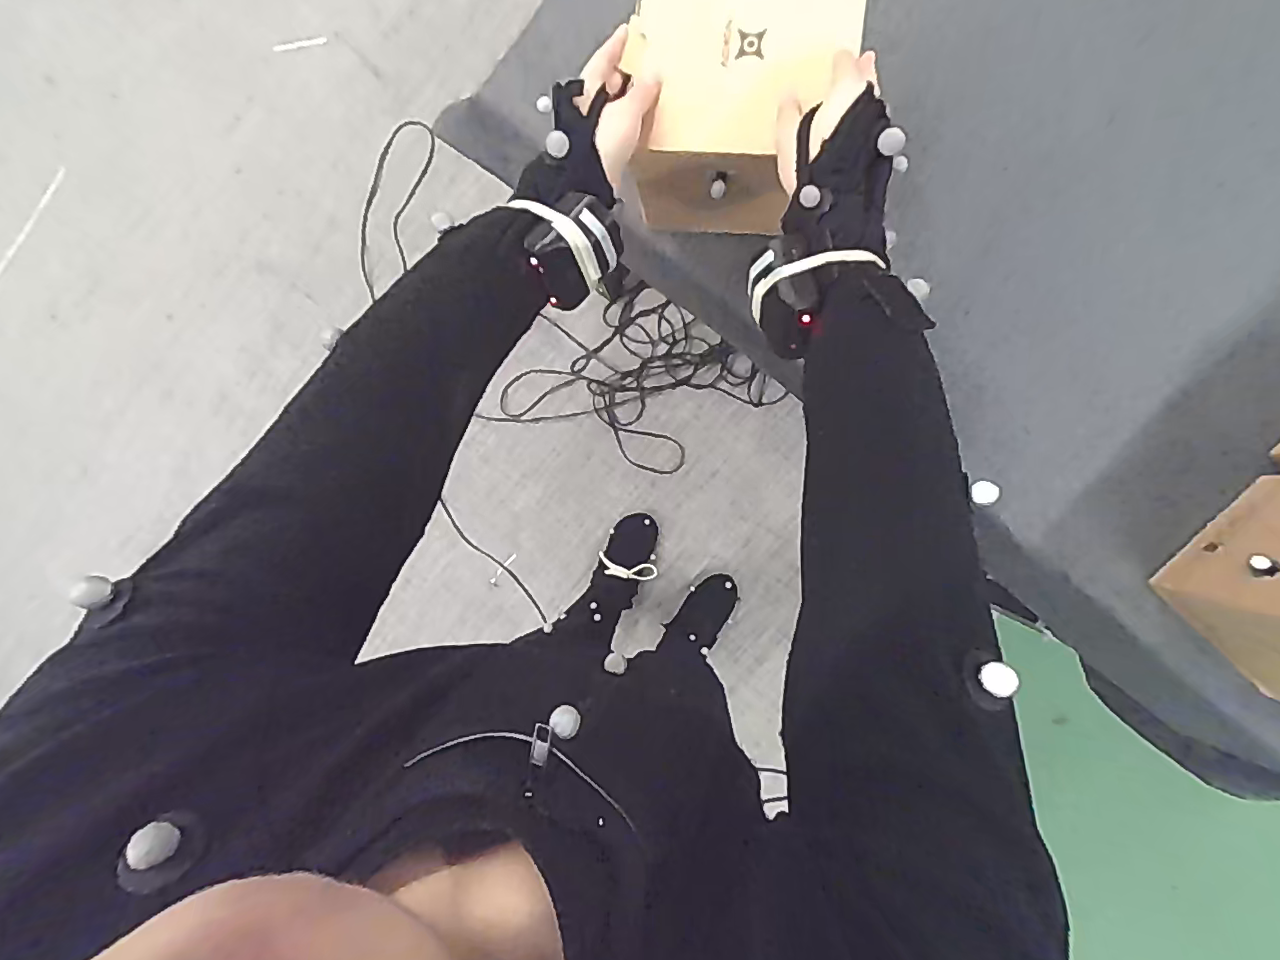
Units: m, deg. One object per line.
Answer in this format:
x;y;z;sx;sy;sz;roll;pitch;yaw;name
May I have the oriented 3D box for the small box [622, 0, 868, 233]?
0.090;-0.340;0.492;0.179;0.176;0.168;7;96;8;small box
